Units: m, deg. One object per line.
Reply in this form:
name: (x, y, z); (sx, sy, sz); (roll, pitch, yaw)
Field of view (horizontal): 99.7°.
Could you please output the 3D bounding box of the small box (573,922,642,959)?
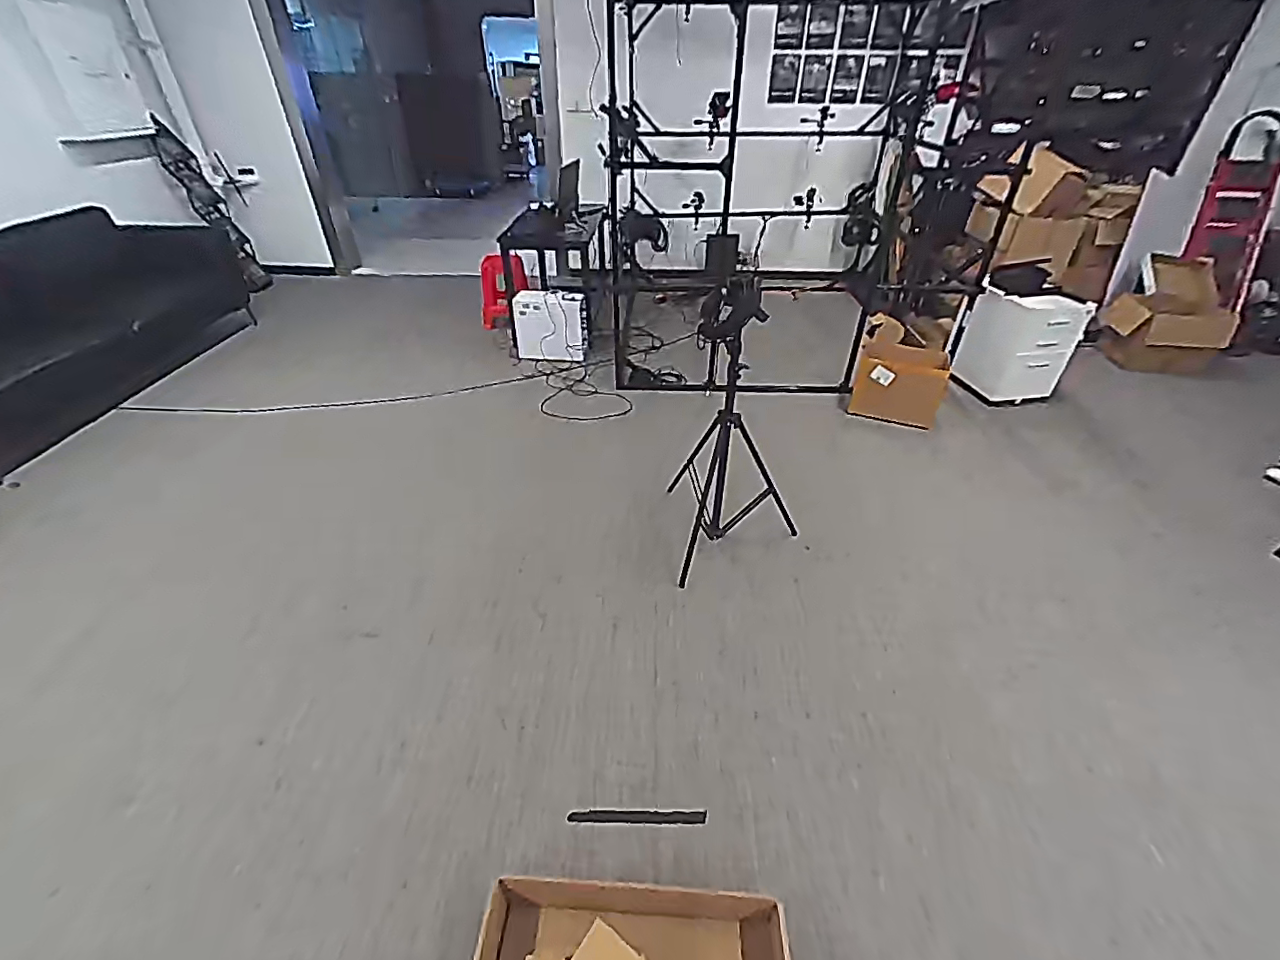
small box: (-0.050, 0.902, 0.898); (0.179, 0.176, 0.168); (21, 39, 28)
